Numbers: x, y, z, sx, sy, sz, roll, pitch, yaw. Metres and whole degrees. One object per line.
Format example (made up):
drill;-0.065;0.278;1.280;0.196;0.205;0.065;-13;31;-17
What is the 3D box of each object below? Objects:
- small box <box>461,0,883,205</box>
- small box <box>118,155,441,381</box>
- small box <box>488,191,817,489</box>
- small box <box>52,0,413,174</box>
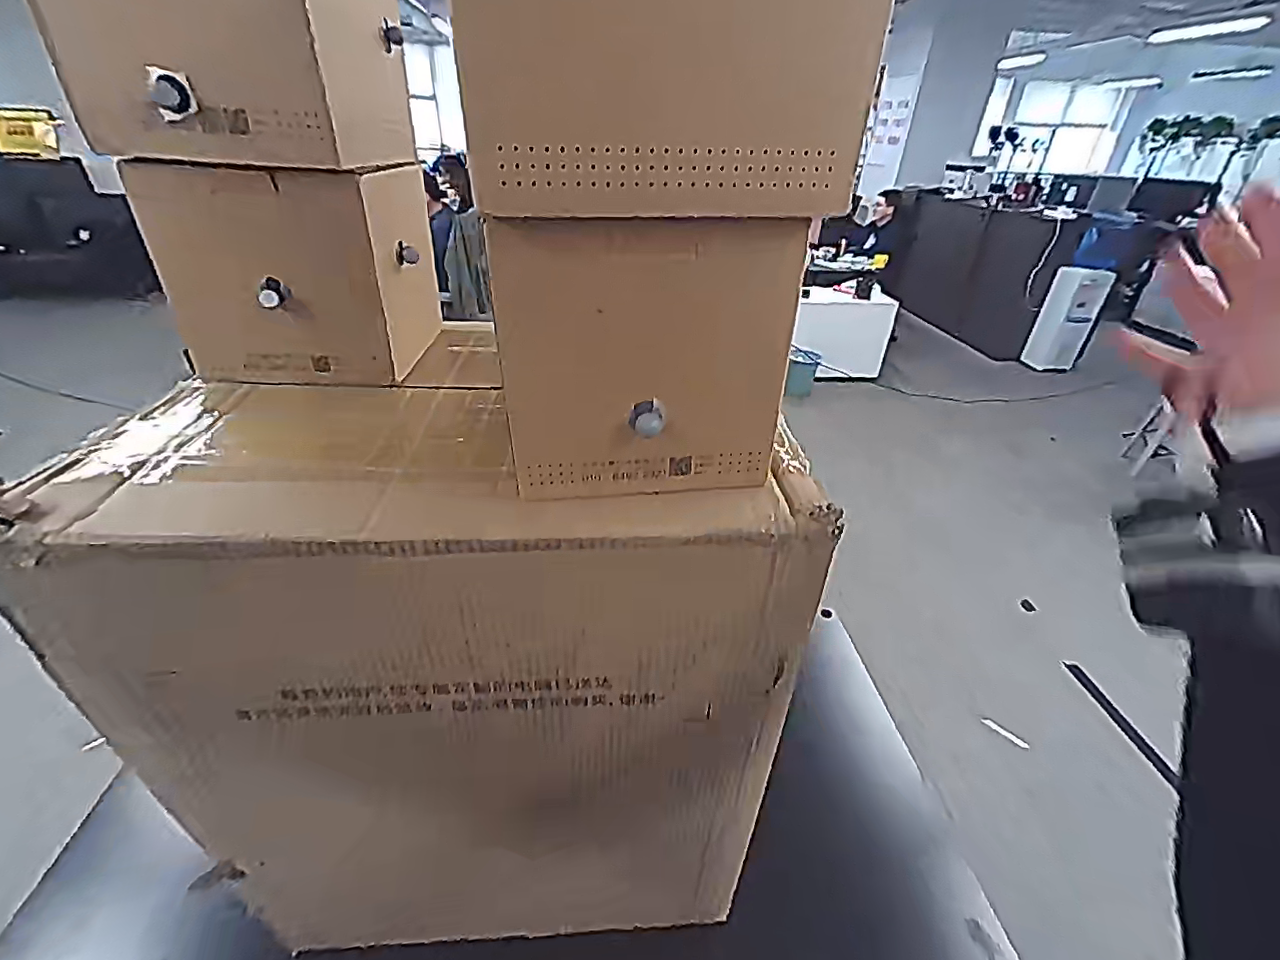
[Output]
small box;0.007;-0.236;0.264;0.179;0.176;0.168;-4;34;-8
small box;-0.291;-0.198;0.493;0.168;0.176;0.179;0;33;-5
small box;-0.003;-0.111;0.374;0.168;0.176;0.179;-4;34;-6
small box;-0.279;-0.328;0.392;0.168;0.176;0.179;0;33;-3
